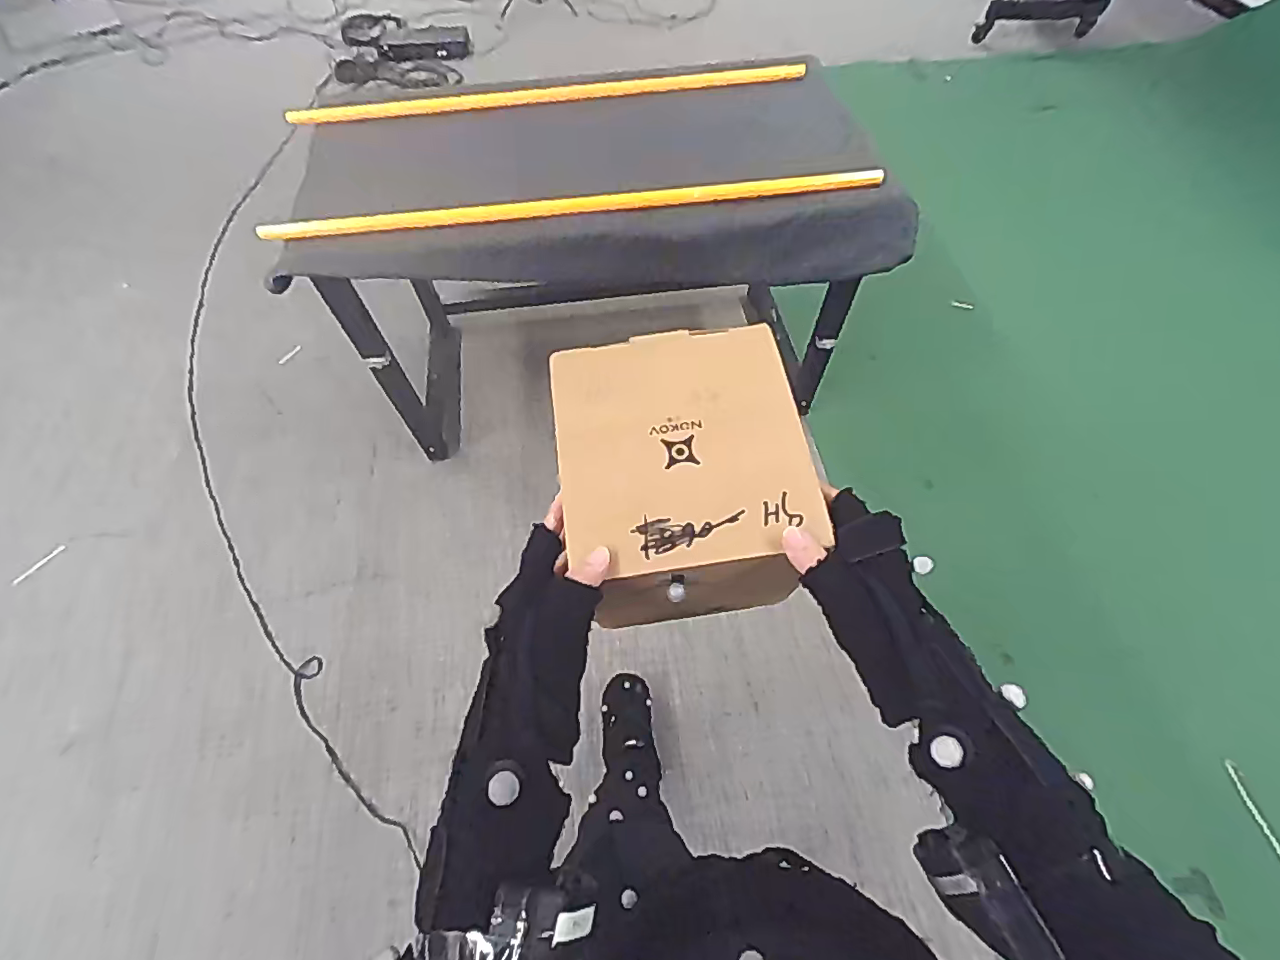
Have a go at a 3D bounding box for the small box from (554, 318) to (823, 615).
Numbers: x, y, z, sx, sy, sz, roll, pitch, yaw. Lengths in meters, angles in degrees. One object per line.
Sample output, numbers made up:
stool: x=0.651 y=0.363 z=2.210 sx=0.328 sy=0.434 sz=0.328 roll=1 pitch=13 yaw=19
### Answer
small box: x=0.028 y=-0.001 z=0.444 sx=0.168 sy=0.176 sz=0.179 roll=-8 pitch=65 yaw=0
